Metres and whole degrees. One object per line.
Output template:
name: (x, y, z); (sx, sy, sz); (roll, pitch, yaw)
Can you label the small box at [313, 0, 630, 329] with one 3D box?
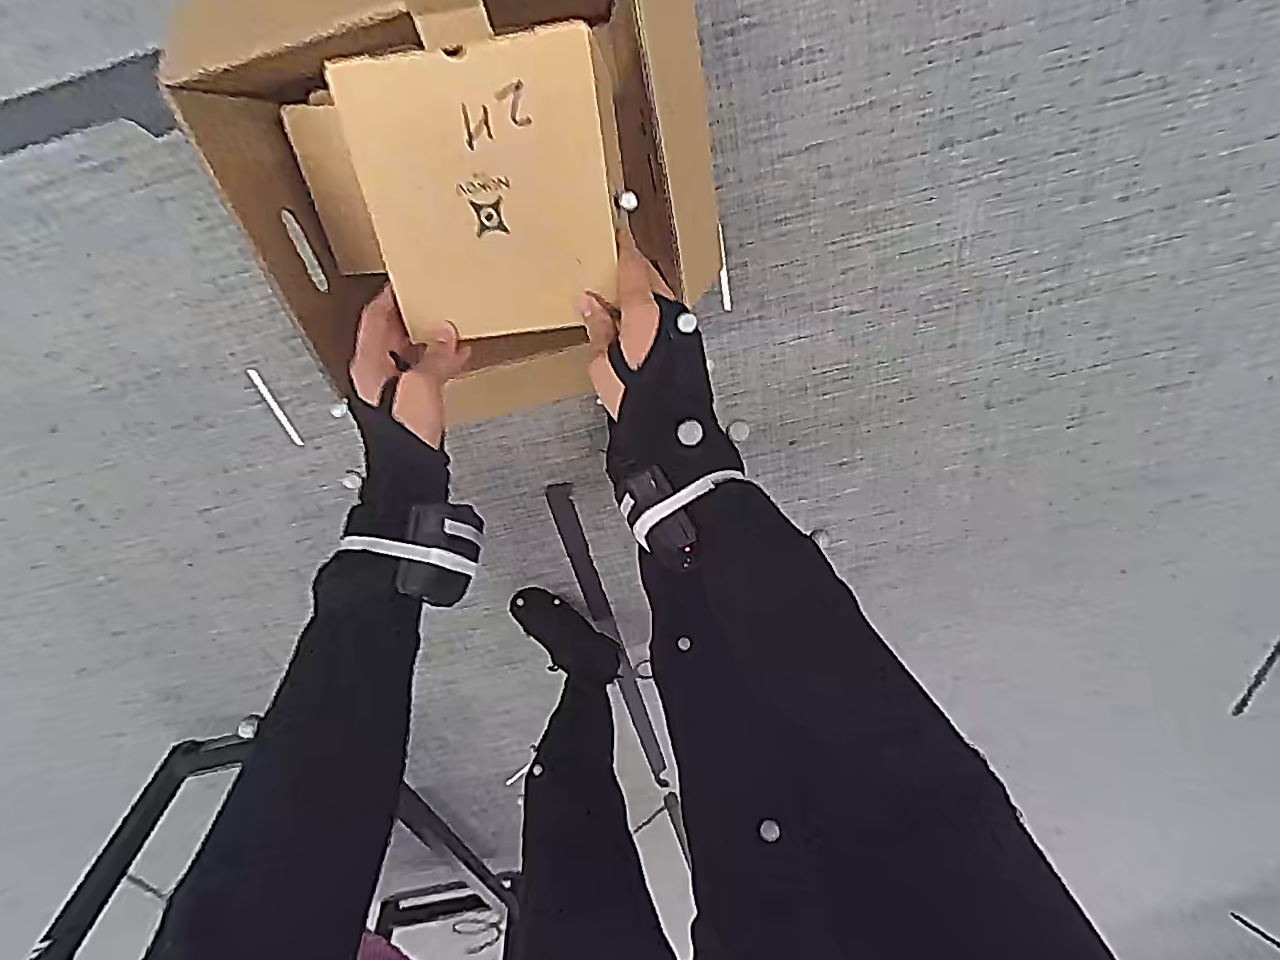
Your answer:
small box: (-0.101, -0.231, 0.422); (0.168, 0.176, 0.179); (-5, 118, 5)
